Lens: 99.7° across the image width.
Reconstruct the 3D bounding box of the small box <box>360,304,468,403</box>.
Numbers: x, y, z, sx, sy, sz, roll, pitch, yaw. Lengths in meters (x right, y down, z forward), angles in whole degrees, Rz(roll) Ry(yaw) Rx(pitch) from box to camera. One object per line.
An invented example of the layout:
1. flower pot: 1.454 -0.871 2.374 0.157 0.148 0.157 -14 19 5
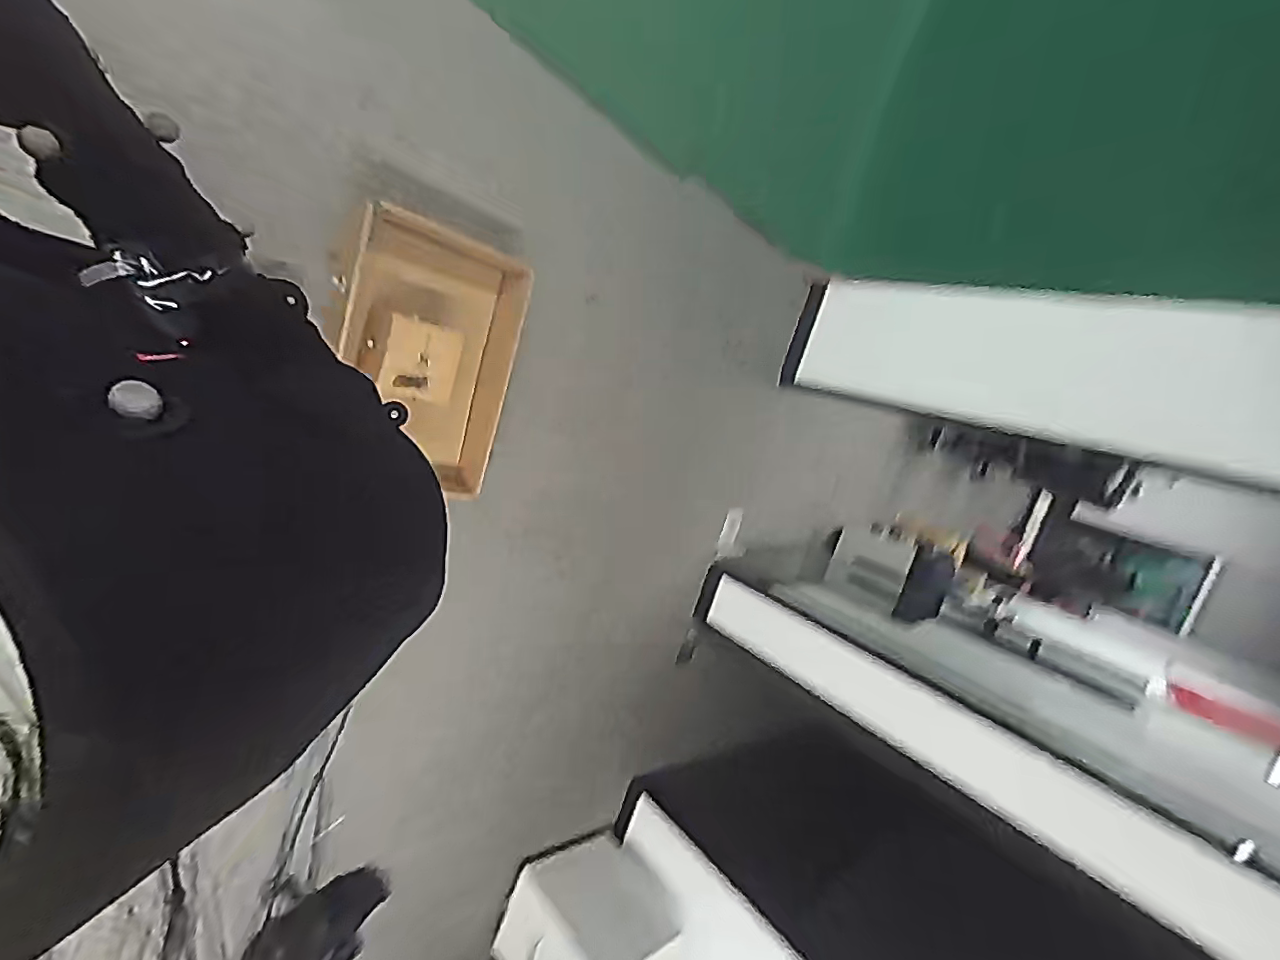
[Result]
1. small box: -0.537 -0.299 1.273 0.168 0.176 0.179 10 100 -47
